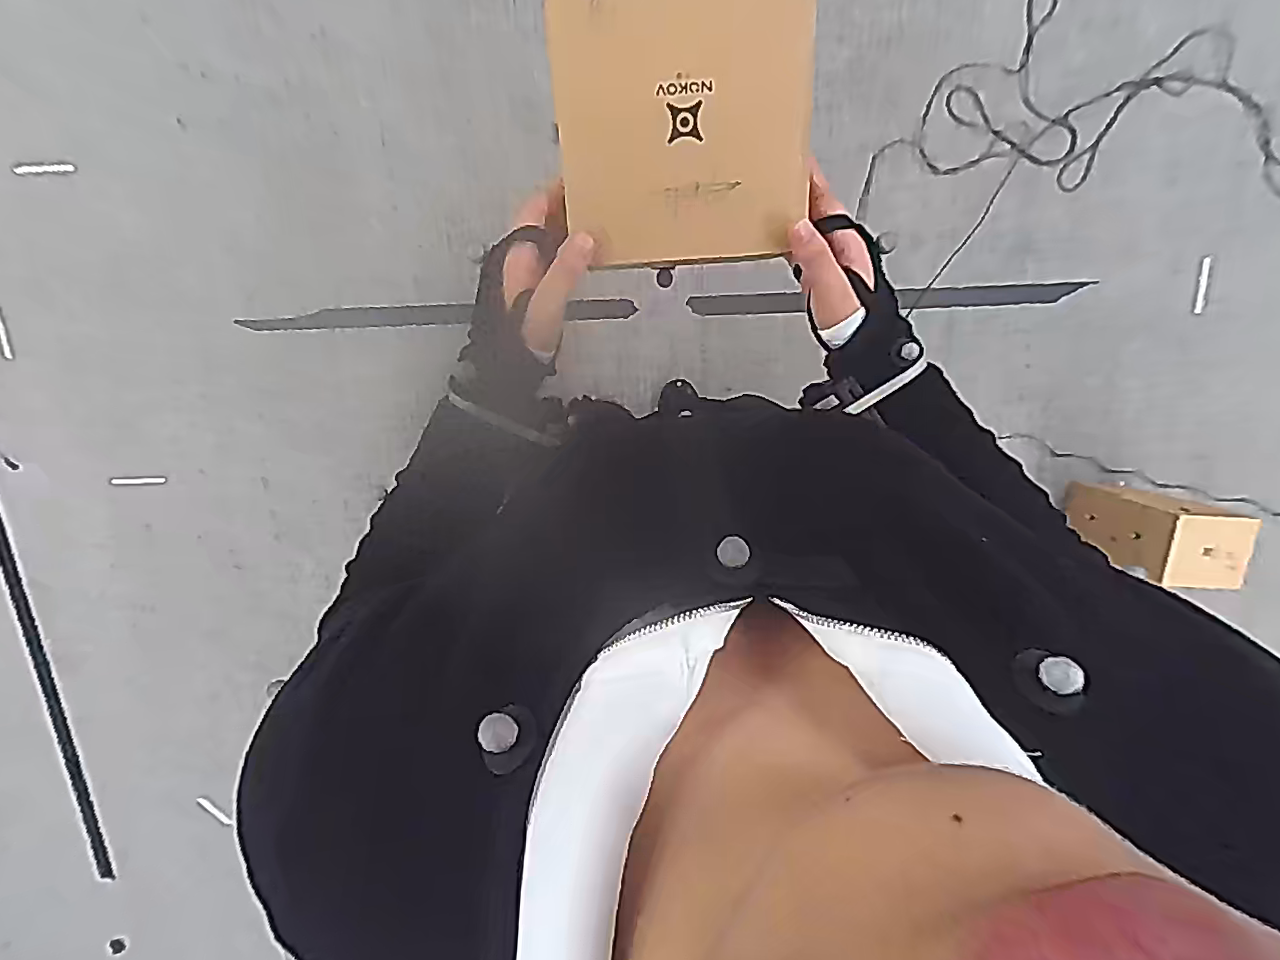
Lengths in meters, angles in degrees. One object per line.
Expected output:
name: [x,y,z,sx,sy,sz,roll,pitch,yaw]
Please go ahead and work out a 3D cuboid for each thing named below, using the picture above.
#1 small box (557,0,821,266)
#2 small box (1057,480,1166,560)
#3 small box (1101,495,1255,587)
small box: [0.031,-0.268,0.424,0.168,0.176,0.179,-3,111,1]
small box: [1.250,0.107,1.421,0.168,0.176,0.179,5,102,-1]
small box: [1.237,0.136,1.259,0.179,0.176,0.168,2,103,0]
